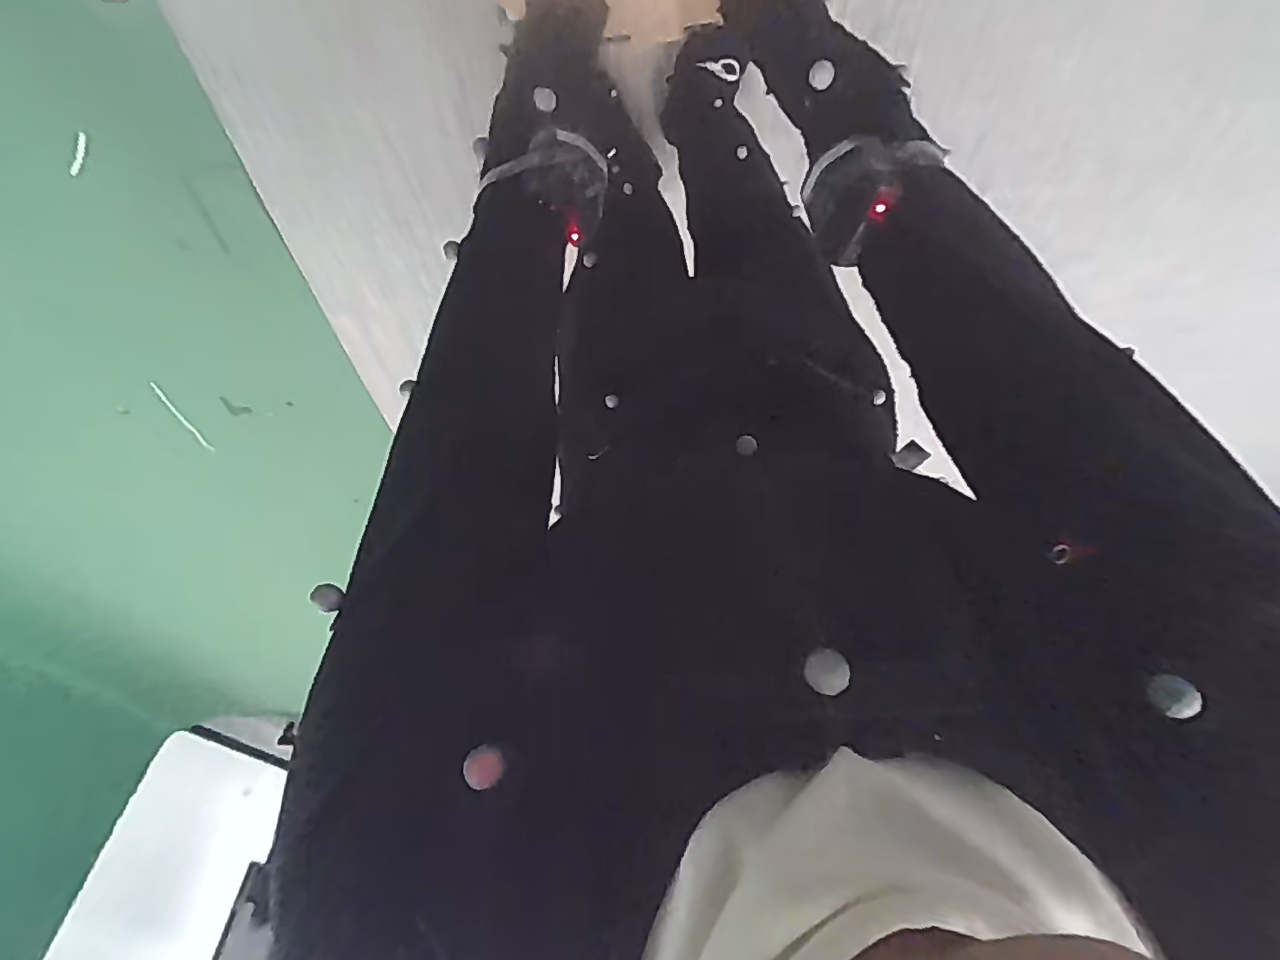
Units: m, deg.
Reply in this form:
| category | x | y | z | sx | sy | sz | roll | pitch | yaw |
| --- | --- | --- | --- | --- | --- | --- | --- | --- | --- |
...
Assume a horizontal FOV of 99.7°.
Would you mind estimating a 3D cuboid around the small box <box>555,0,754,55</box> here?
| category | x | y | z | sx | sy | sz | roll | pitch | yaw |
| --- | --- | --- | --- | --- | --- | --- | --- | --- | --- |
| small box | 0.008 | -0.490 | 0.443 | 0.168 | 0.176 | 0.179 | -3 | 142 | 7 |
